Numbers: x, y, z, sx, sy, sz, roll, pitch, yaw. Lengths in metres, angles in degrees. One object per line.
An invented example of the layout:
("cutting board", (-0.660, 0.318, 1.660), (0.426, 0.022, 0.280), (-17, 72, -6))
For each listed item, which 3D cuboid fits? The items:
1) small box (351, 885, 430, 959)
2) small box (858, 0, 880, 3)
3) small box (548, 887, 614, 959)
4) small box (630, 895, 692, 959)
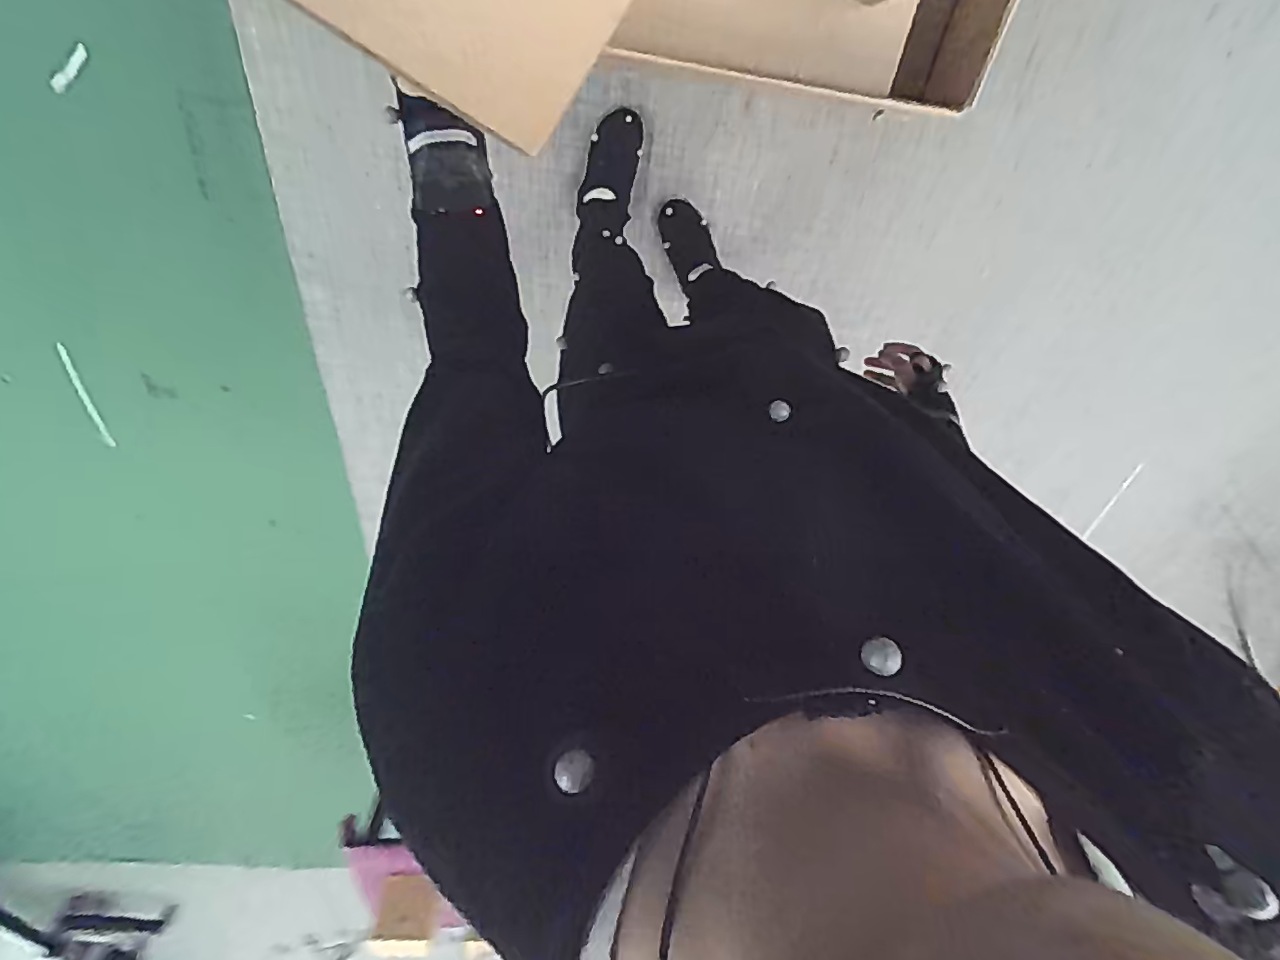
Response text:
("small box", (-0.740, 1.347, 1.630), (0.179, 0.176, 0.168), (7, 126, -8))
("small box", (0.267, -0.680, 0.608), (0.168, 0.176, 0.179), (15, 124, -12))
("small box", (-0.188, 1.413, 1.706), (0.168, 0.176, 0.179), (16, 124, -14))
("small box", (0.071, 1.494, 1.769), (0.168, 0.176, 0.179), (-17, 124, 9))
